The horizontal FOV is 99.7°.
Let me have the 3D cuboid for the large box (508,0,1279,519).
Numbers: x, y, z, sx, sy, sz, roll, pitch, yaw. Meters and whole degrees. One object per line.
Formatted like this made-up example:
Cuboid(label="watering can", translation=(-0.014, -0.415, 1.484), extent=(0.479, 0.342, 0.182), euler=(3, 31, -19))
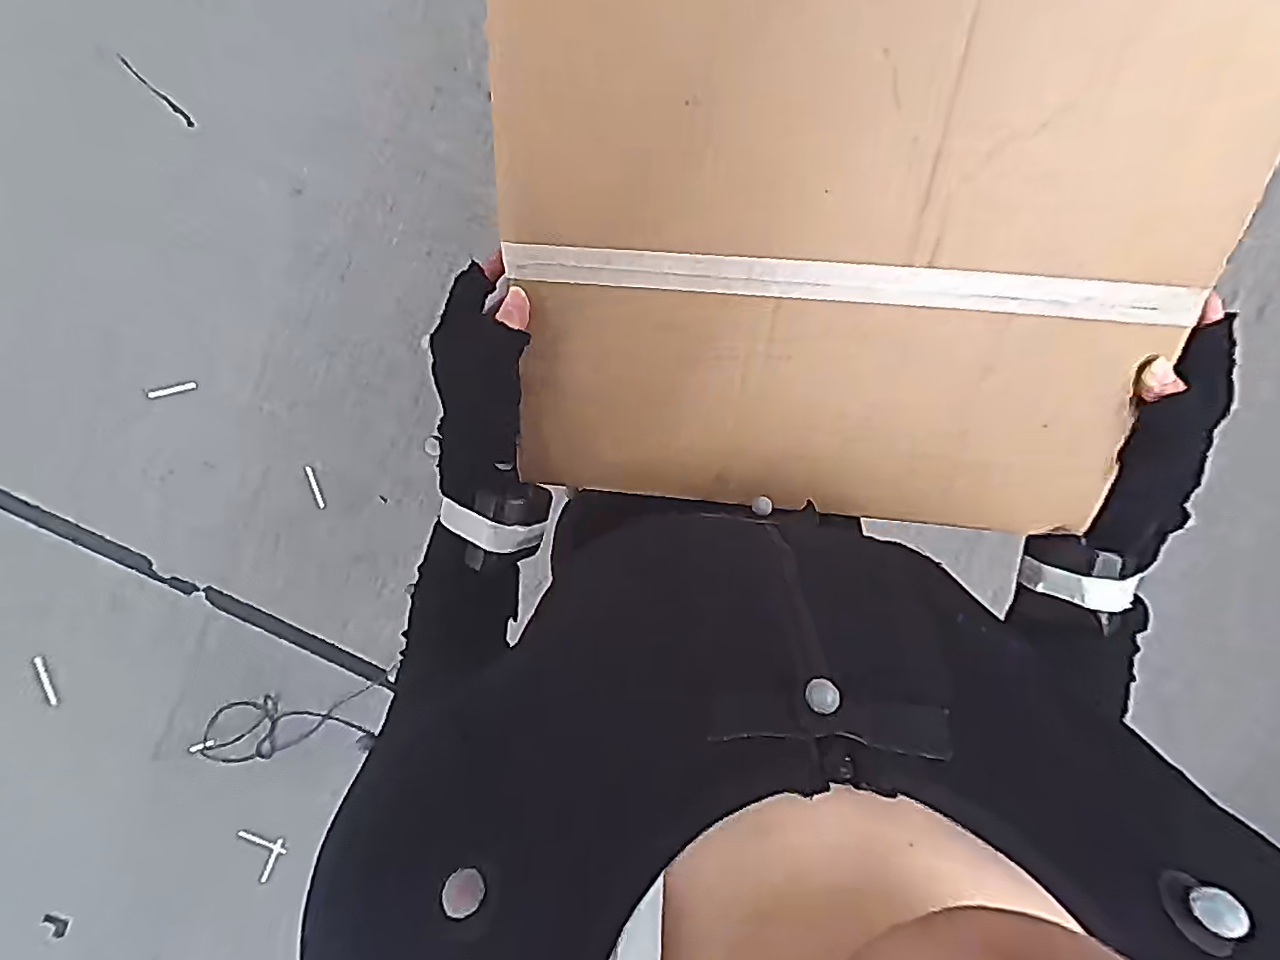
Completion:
Cuboid(label="large box", translation=(0.134, -0.190, 0.467), extent=(0.408, 0.320, 0.320), euler=(6, 119, 4))
